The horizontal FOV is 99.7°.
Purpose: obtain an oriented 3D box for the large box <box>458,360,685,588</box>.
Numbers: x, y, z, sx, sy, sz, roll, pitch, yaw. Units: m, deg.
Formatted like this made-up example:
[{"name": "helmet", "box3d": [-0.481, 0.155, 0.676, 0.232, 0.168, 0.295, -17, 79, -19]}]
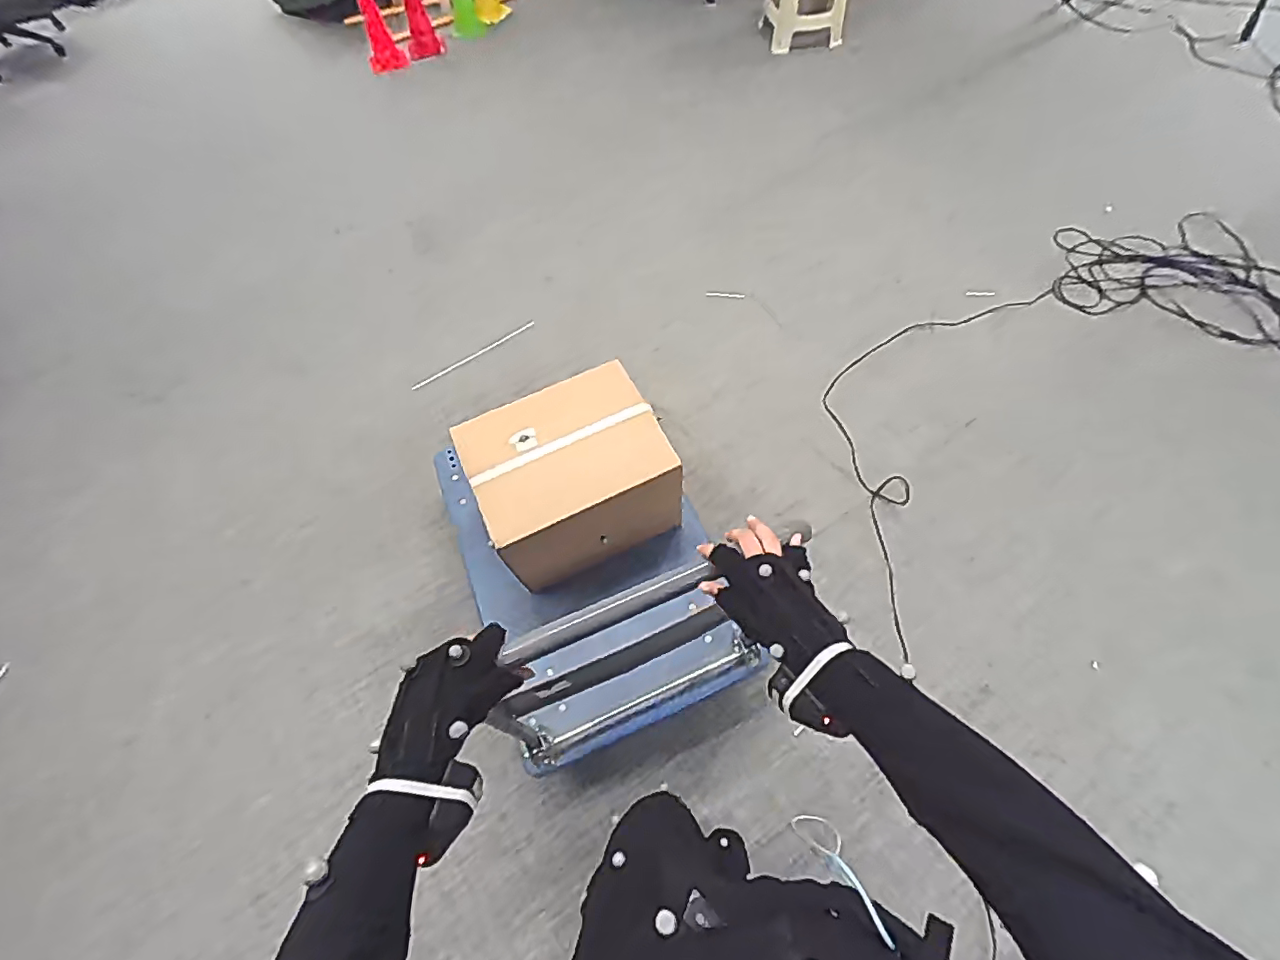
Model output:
[{"name": "large box", "box3d": [-0.140, -0.004, 1.264, 0.408, 0.320, 0.320, -26, 63, -9]}]
